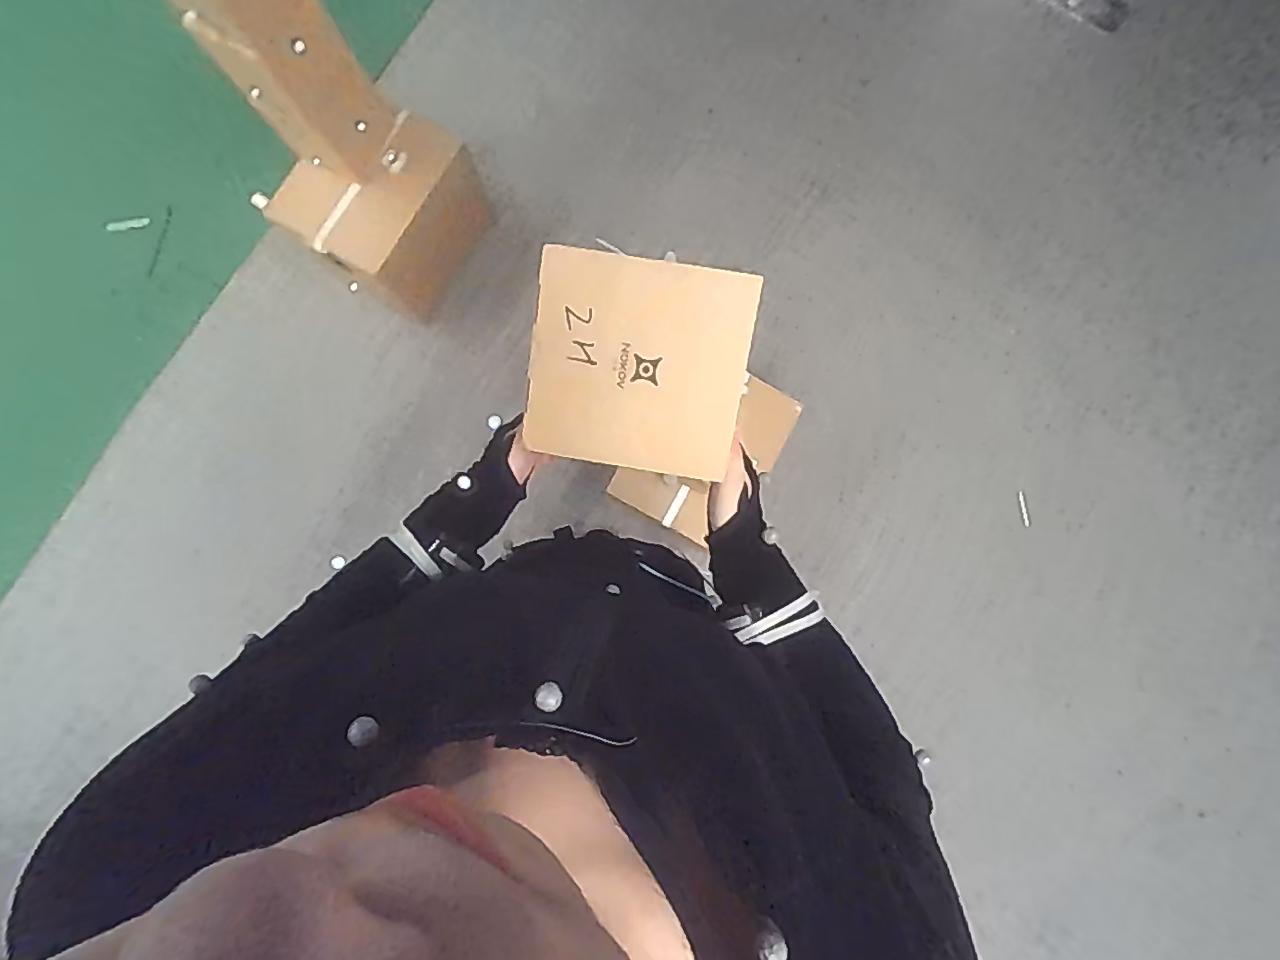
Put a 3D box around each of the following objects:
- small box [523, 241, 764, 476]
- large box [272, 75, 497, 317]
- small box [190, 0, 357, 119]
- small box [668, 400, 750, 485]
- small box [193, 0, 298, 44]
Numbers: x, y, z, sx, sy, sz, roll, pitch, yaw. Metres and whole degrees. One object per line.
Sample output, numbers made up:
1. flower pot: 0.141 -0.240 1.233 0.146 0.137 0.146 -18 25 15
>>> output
1. small box: 0.004 -0.112 0.514 0.179 0.176 0.168 10 102 3
2. large box: -0.643 -0.722 1.431 0.320 0.320 0.408 30 84 2
3. small box: -0.681 -0.852 1.034 0.168 0.176 0.179 29 86 5
4. small box: 0.113 -0.100 1.150 0.168 0.176 0.179 27 85 3
5. small box: -0.677 -0.874 0.872 0.168 0.176 0.179 31 86 5
